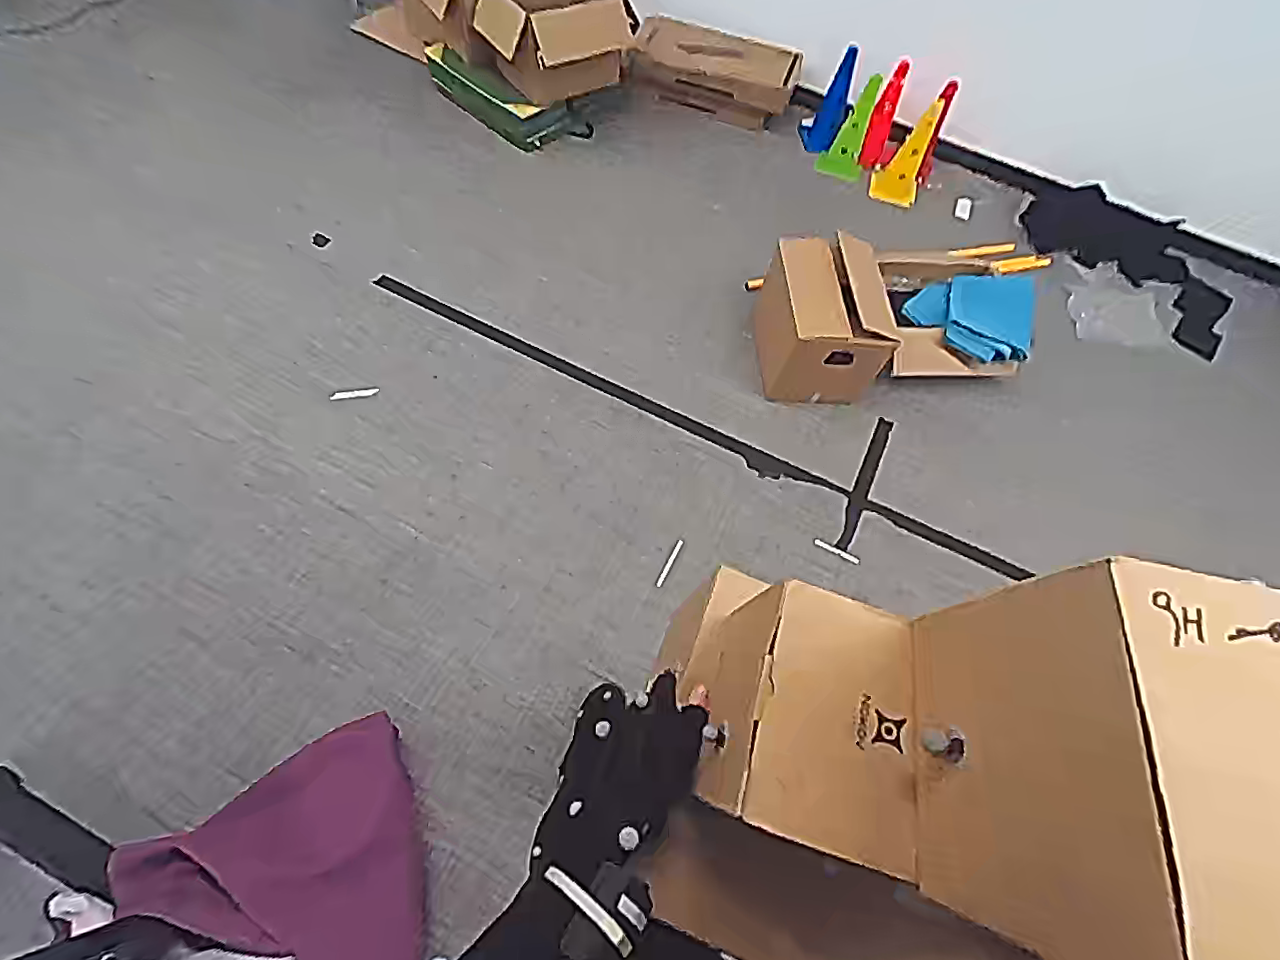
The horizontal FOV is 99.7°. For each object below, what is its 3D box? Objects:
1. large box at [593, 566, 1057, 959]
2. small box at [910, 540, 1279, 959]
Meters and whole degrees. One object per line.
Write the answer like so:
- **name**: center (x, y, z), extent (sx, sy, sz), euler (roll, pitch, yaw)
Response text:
- **large box**: center (0.189, 0.352, 0.652), extent (0.408, 0.320, 0.320), euler (23, 65, 3)
- **small box**: center (0.274, 0.155, 0.303), extent (0.168, 0.176, 0.179), euler (13, 65, -2)
